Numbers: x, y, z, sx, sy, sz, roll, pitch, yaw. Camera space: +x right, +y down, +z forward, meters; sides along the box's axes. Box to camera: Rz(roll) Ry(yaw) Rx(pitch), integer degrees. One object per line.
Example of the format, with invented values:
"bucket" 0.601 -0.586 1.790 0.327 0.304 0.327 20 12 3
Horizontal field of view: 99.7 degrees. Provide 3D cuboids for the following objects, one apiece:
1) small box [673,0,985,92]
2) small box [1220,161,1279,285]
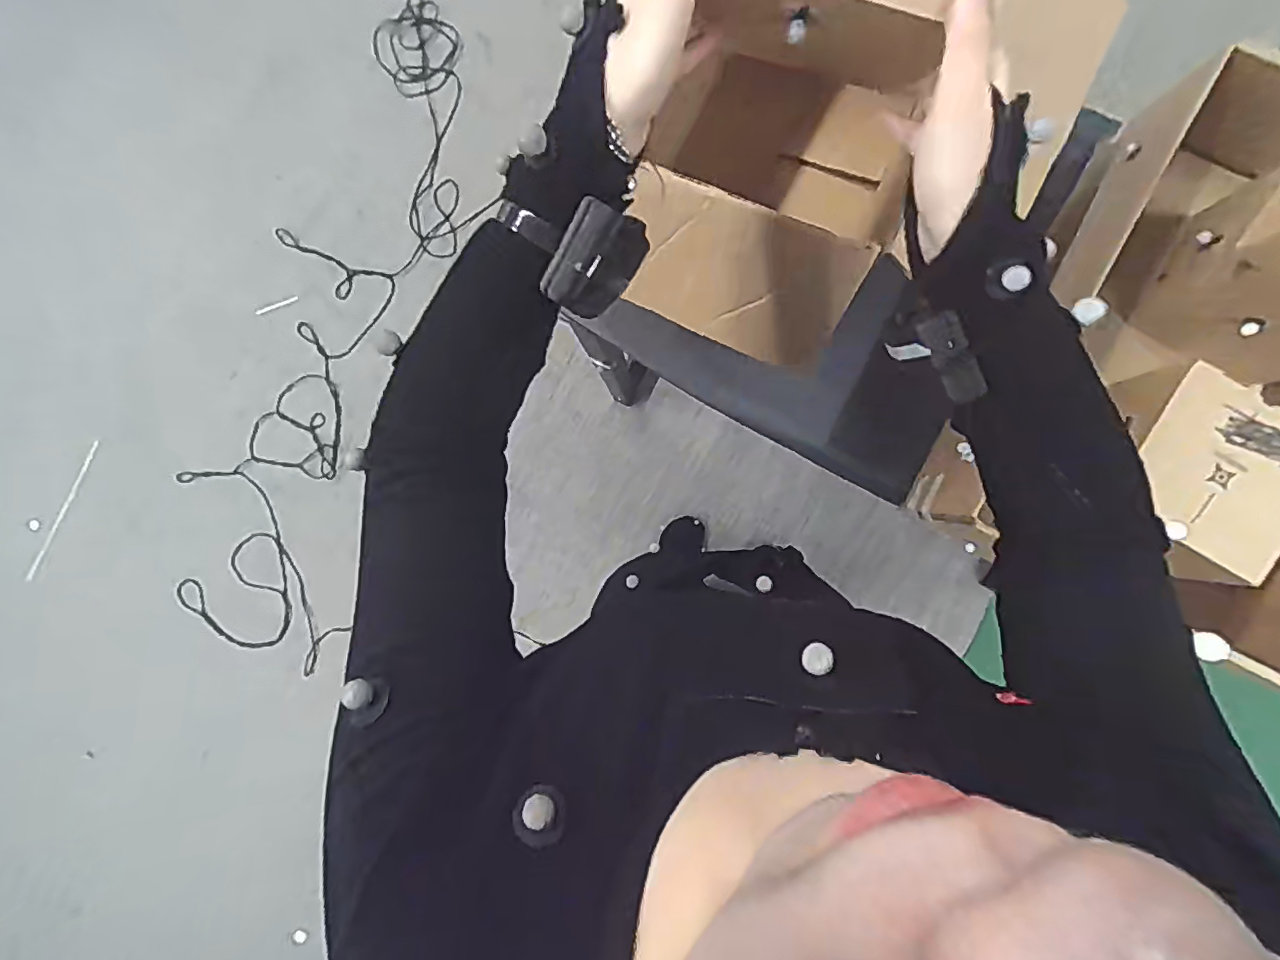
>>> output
"small box" 0.119 -0.358 0.319 0.179 0.176 0.168 15 117 -1
"small box" 0.706 -0.261 0.480 0.179 0.176 0.168 35 91 4
